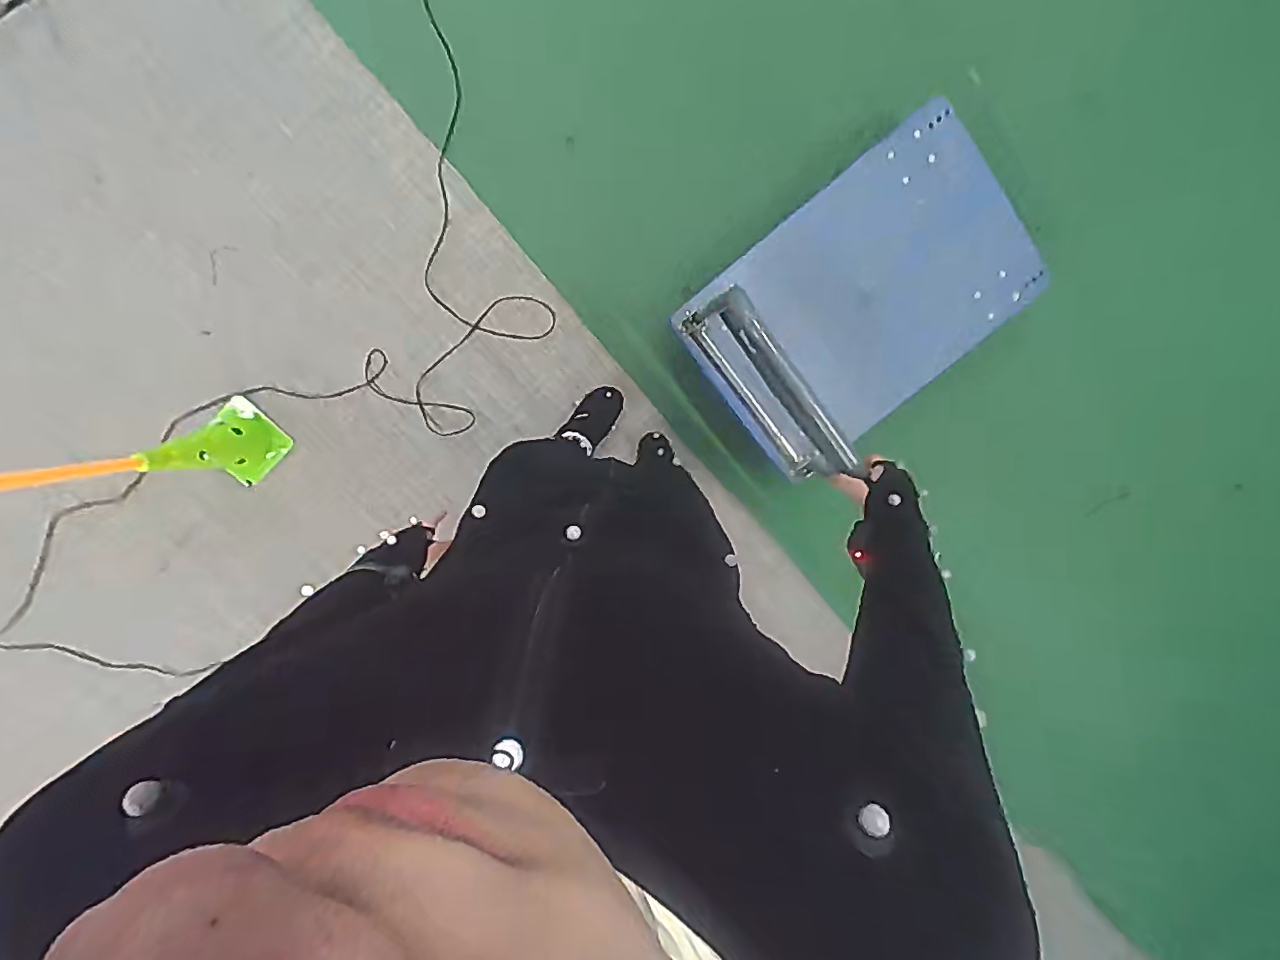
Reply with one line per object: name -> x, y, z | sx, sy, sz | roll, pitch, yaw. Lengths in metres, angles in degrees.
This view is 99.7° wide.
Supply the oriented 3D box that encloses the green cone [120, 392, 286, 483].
green cone -> -1.126, -0.086, 1.362 | 0.200, 0.368, 0.202 | -44, 99, 5
